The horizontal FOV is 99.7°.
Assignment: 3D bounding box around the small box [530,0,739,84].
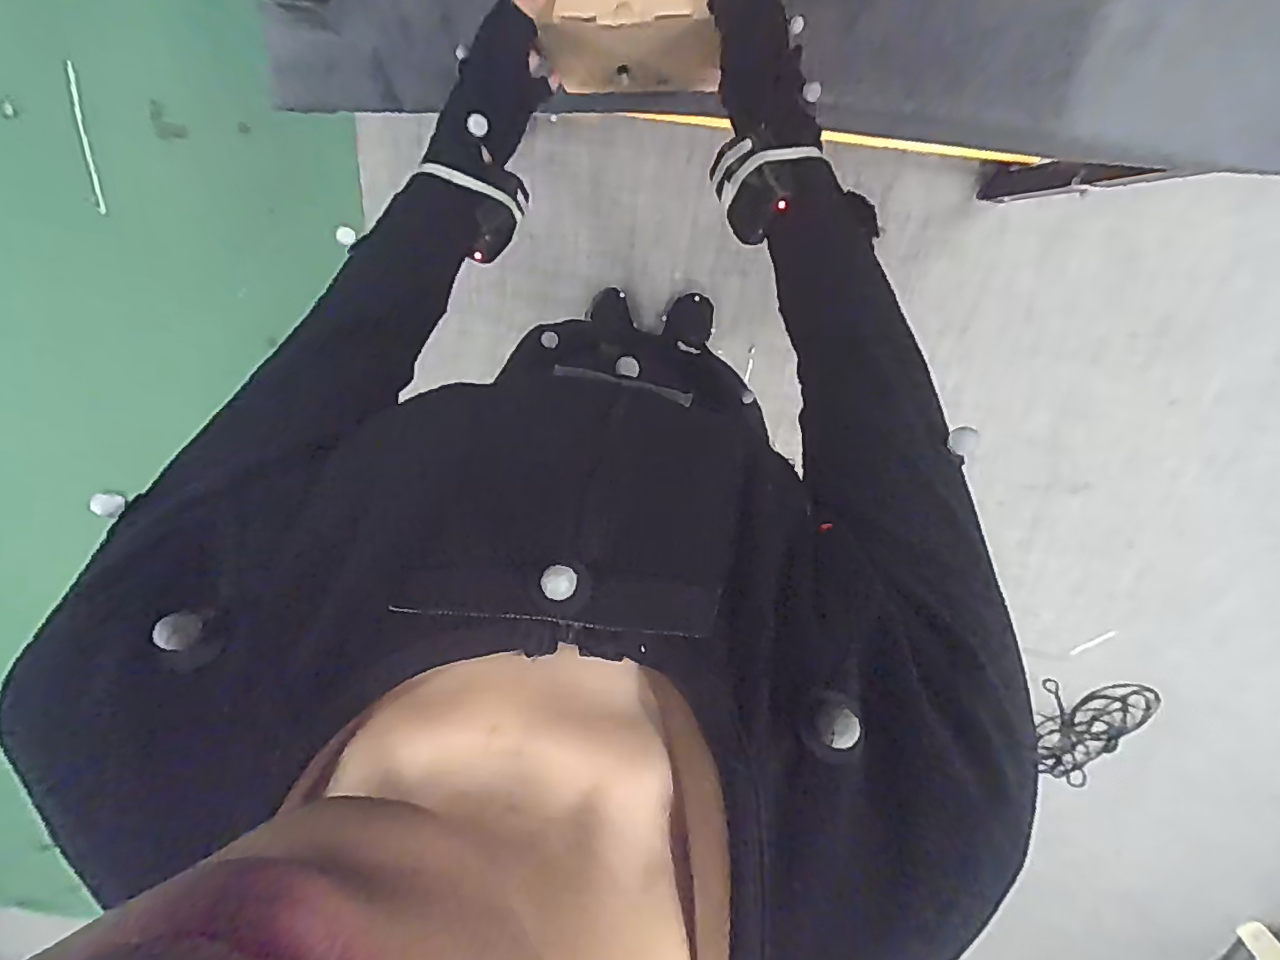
[{"bbox_3d":[0.002,-0.472,0.464,0.168,0.176,0.179,2,111,5],"label":"small box"}]
